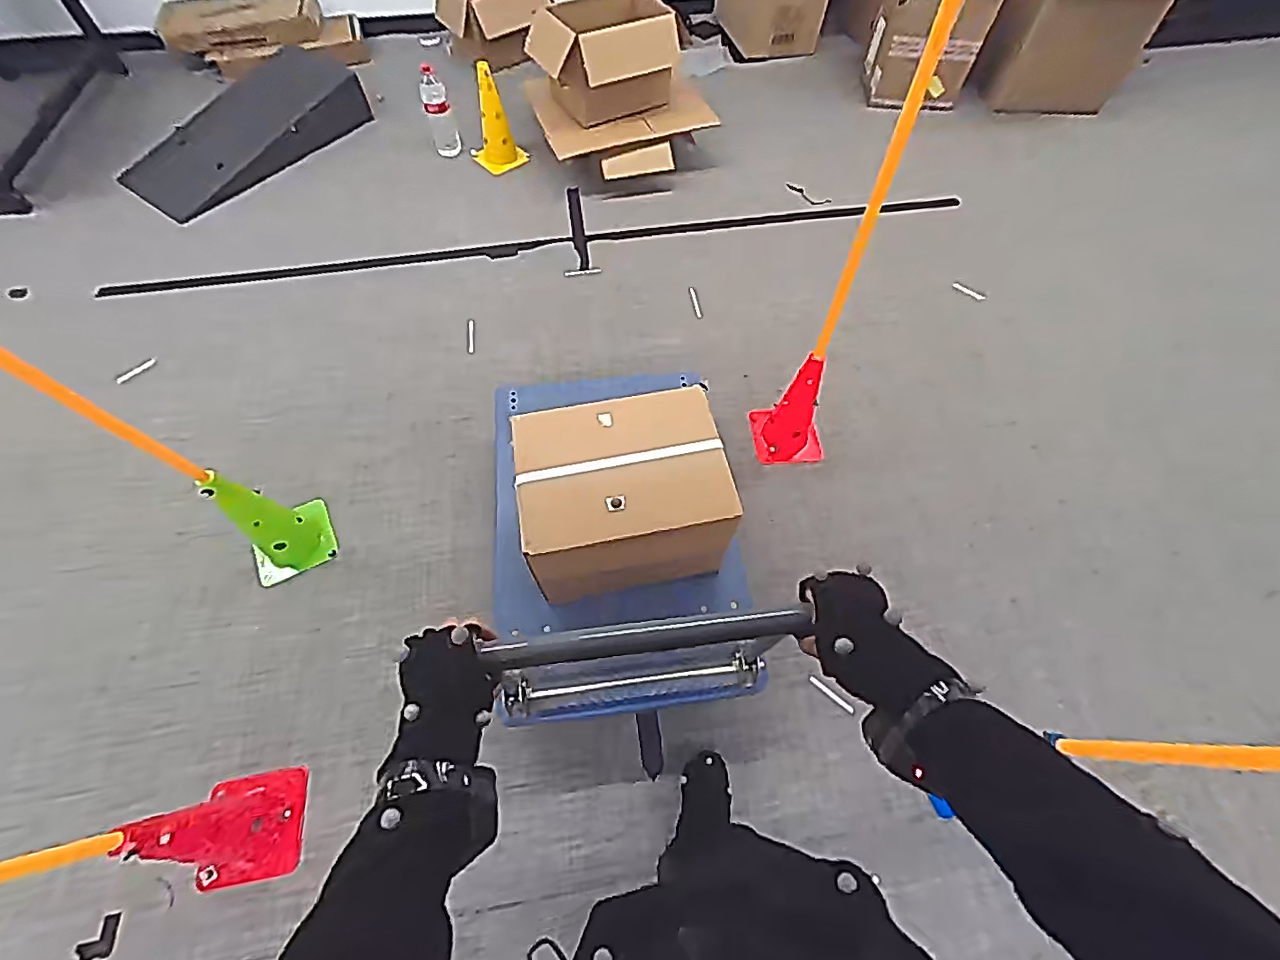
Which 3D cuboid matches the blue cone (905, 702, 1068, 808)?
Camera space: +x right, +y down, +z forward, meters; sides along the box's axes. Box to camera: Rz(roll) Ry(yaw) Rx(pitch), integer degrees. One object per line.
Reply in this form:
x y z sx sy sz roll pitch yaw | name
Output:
0.721 0.537 1.084 0.193 0.380 0.192 -11 60 -7 | blue cone

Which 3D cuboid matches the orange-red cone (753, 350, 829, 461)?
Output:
0.455 -0.226 1.503 0.199 0.360 0.198 -2 61 -2 | orange-red cone
